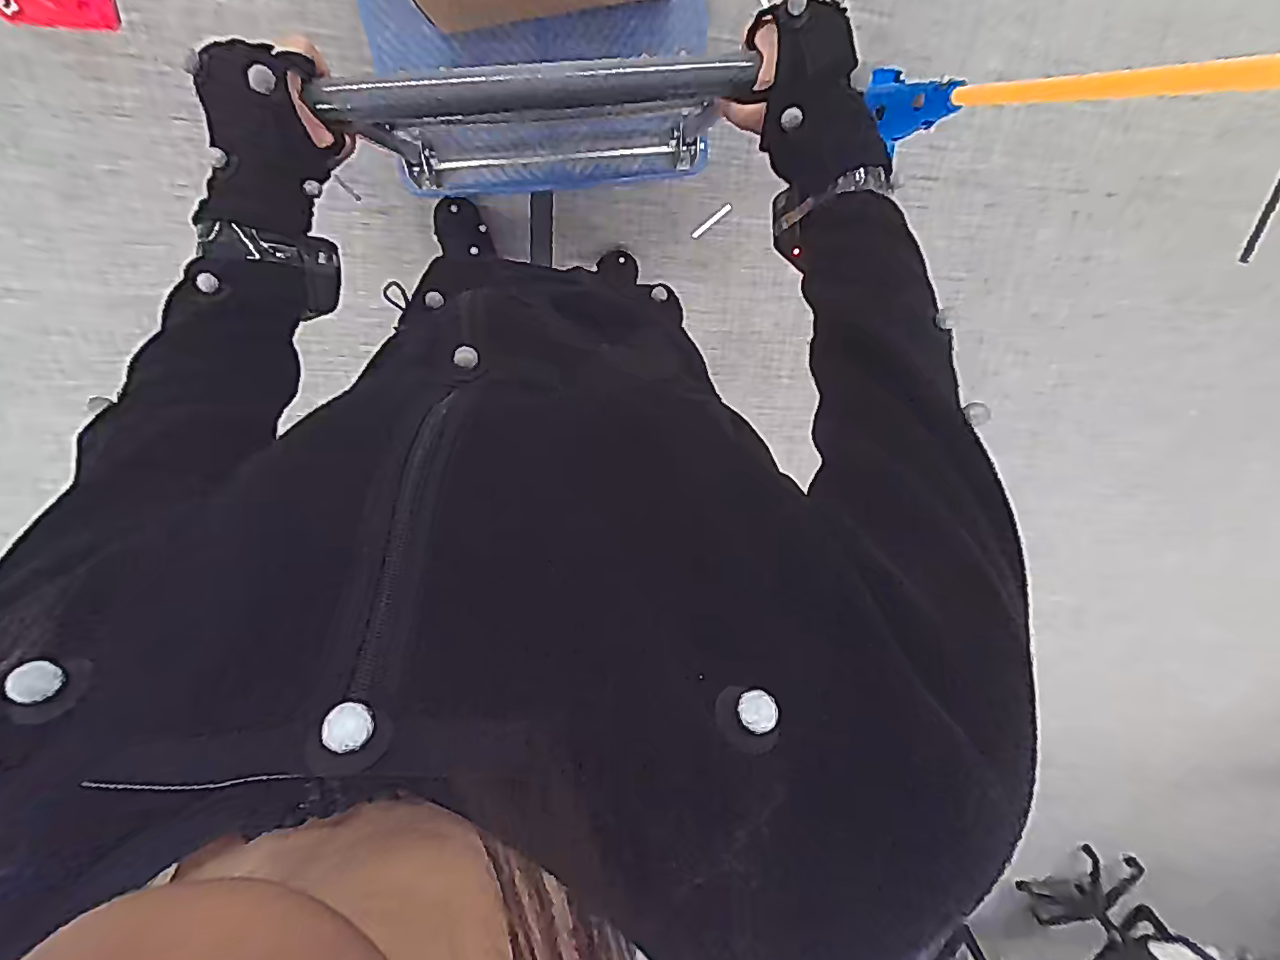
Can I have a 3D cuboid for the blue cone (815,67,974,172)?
[{"bbox_3d":[0.499,-0.714,1.039,0.193,0.380,0.192,-3,116,-6],"label":"blue cone"}]
